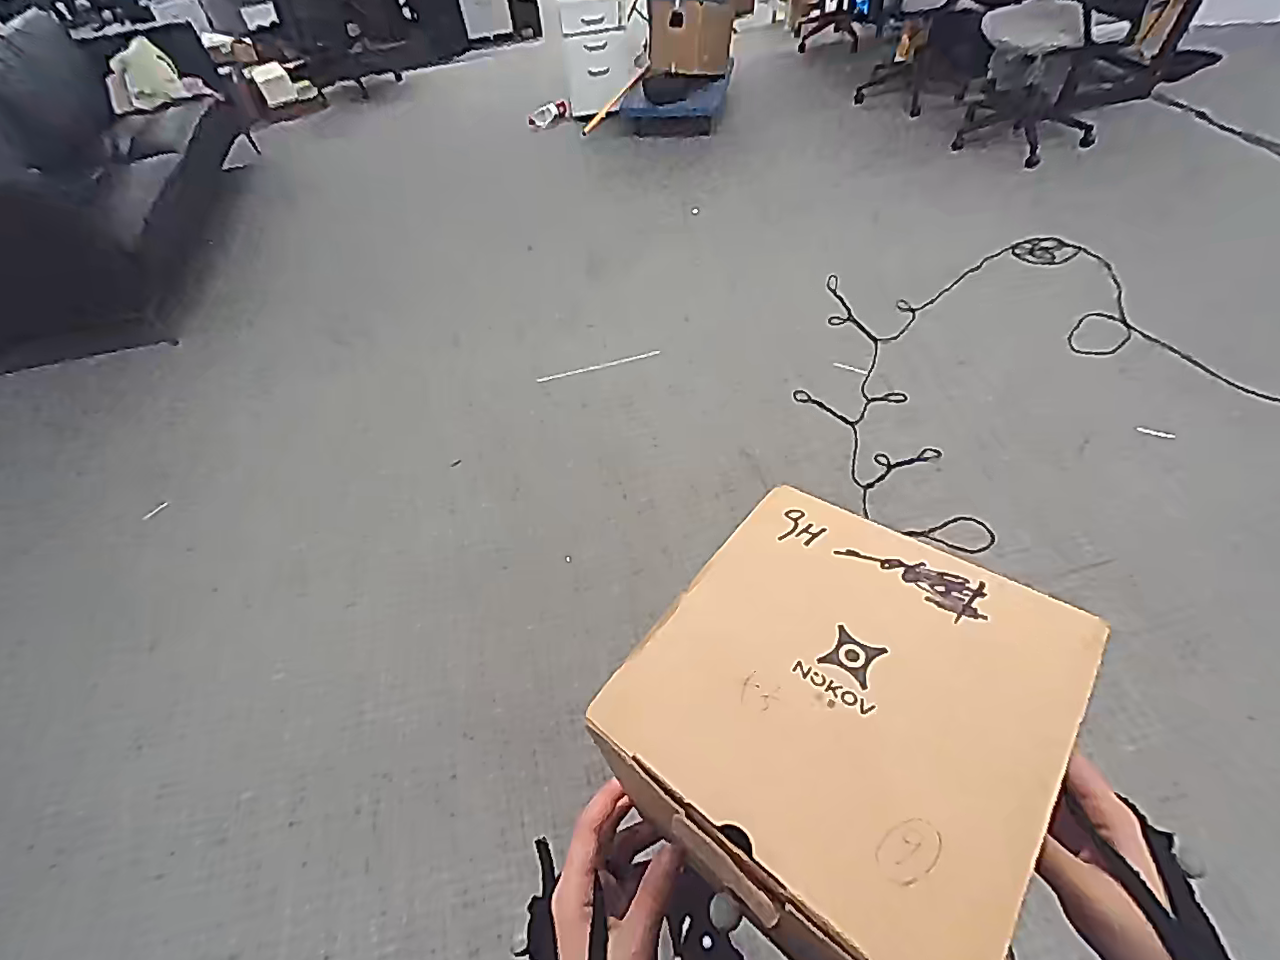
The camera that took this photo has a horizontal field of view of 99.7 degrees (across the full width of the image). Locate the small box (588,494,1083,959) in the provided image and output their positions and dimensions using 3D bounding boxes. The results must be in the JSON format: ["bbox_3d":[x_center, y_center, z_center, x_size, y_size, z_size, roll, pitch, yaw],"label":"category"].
[{"bbox_3d":[0.102,0.147,0.308,0.168,0.176,0.179,26,56,33],"label":"small box"}]
